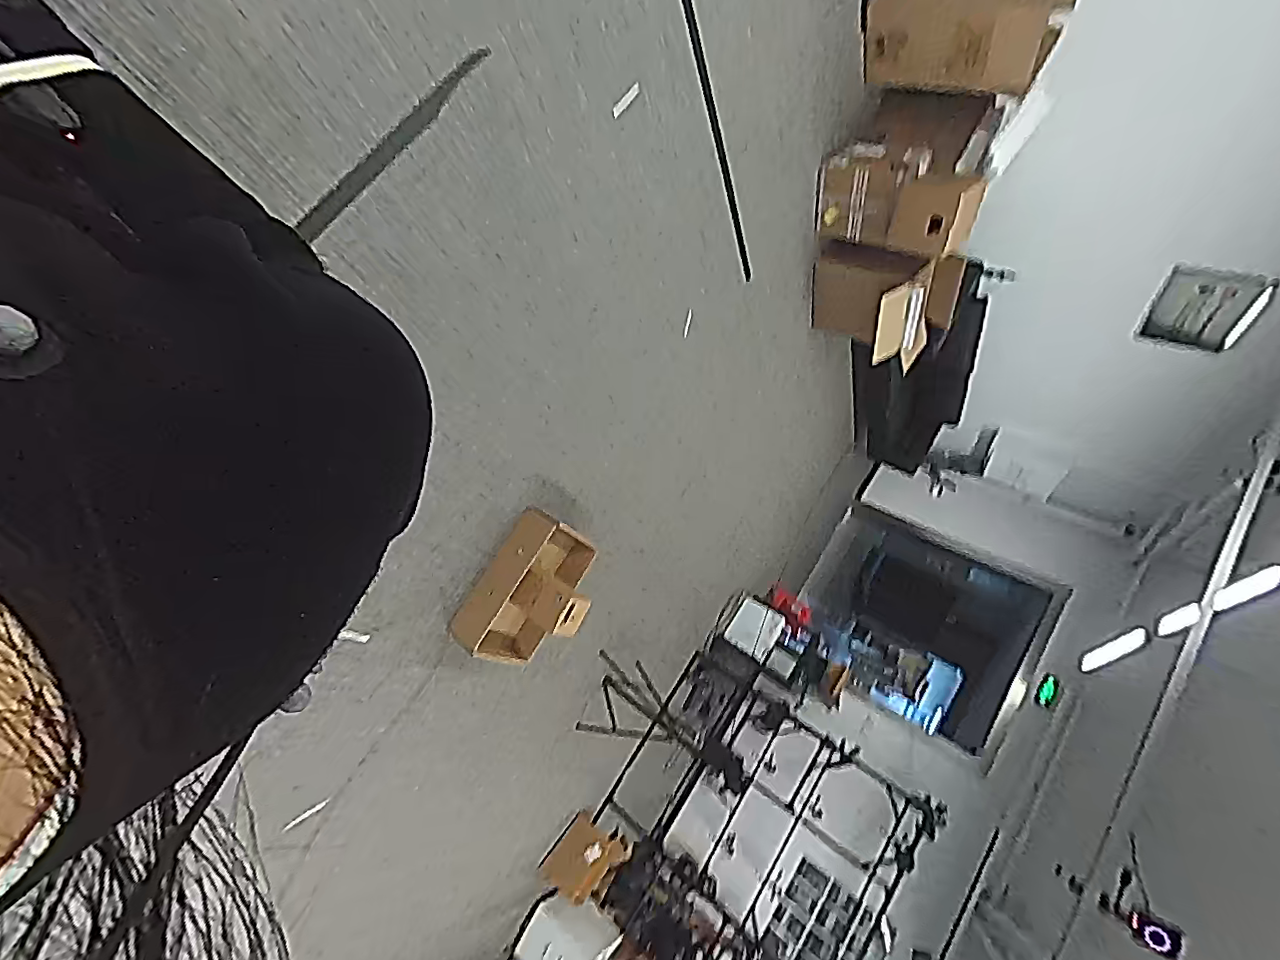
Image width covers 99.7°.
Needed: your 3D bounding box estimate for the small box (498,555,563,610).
[{"bbox_3d":[-0.475,0.442,2.341,0.168,0.176,0.179,-61,149,-4],"label":"small box"}]
